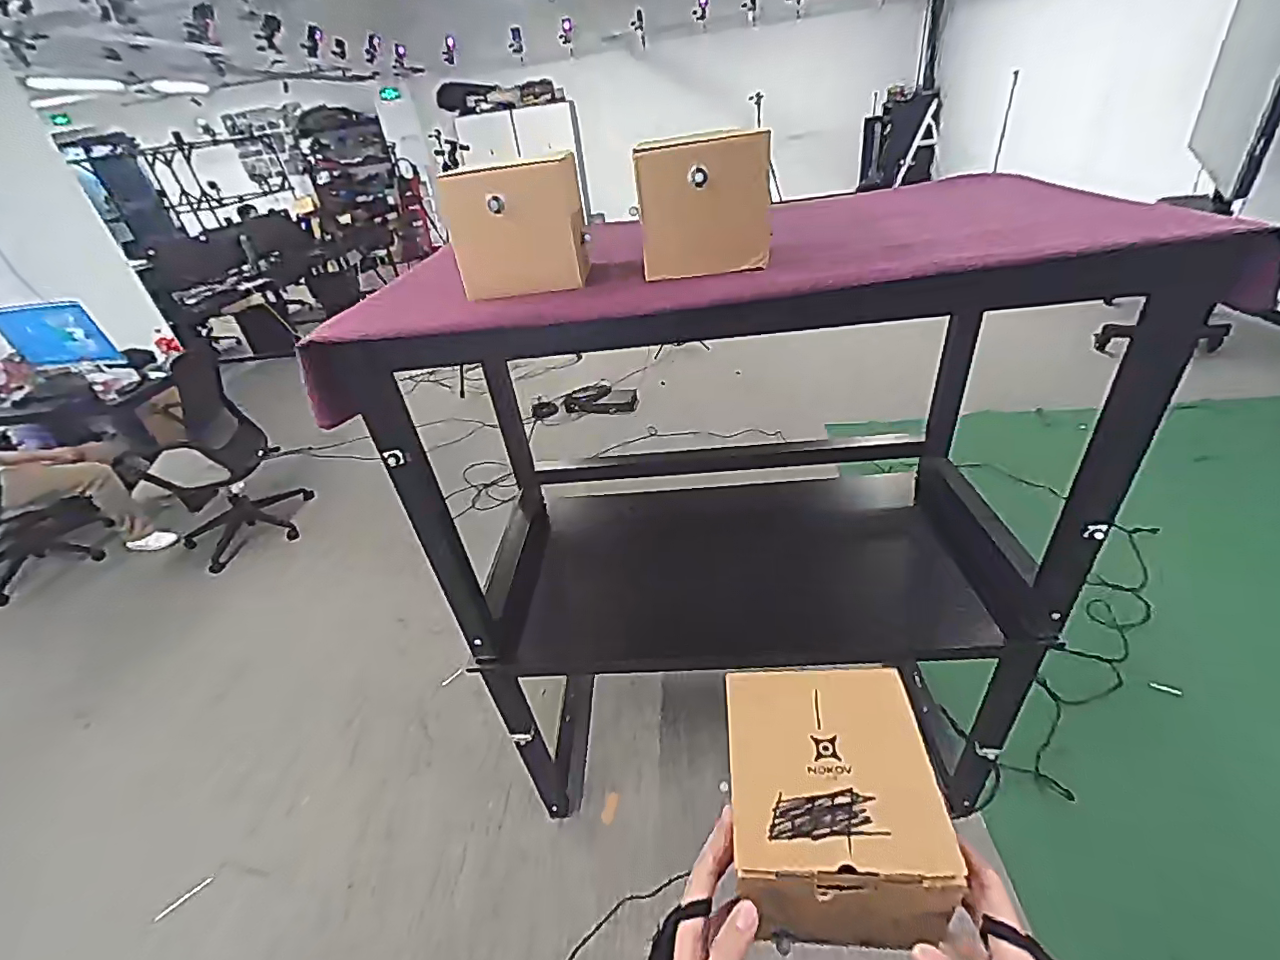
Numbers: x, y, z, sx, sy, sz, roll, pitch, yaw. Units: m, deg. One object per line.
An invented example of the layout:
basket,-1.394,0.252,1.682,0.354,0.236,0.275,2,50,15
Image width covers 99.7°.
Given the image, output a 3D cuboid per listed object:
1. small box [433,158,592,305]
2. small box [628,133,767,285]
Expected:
small box,-0.179,-0.376,0.821,0.179,0.176,0.168,-6,35,5
small box,0.086,-0.391,0.783,0.179,0.176,0.168,-4,34,7
